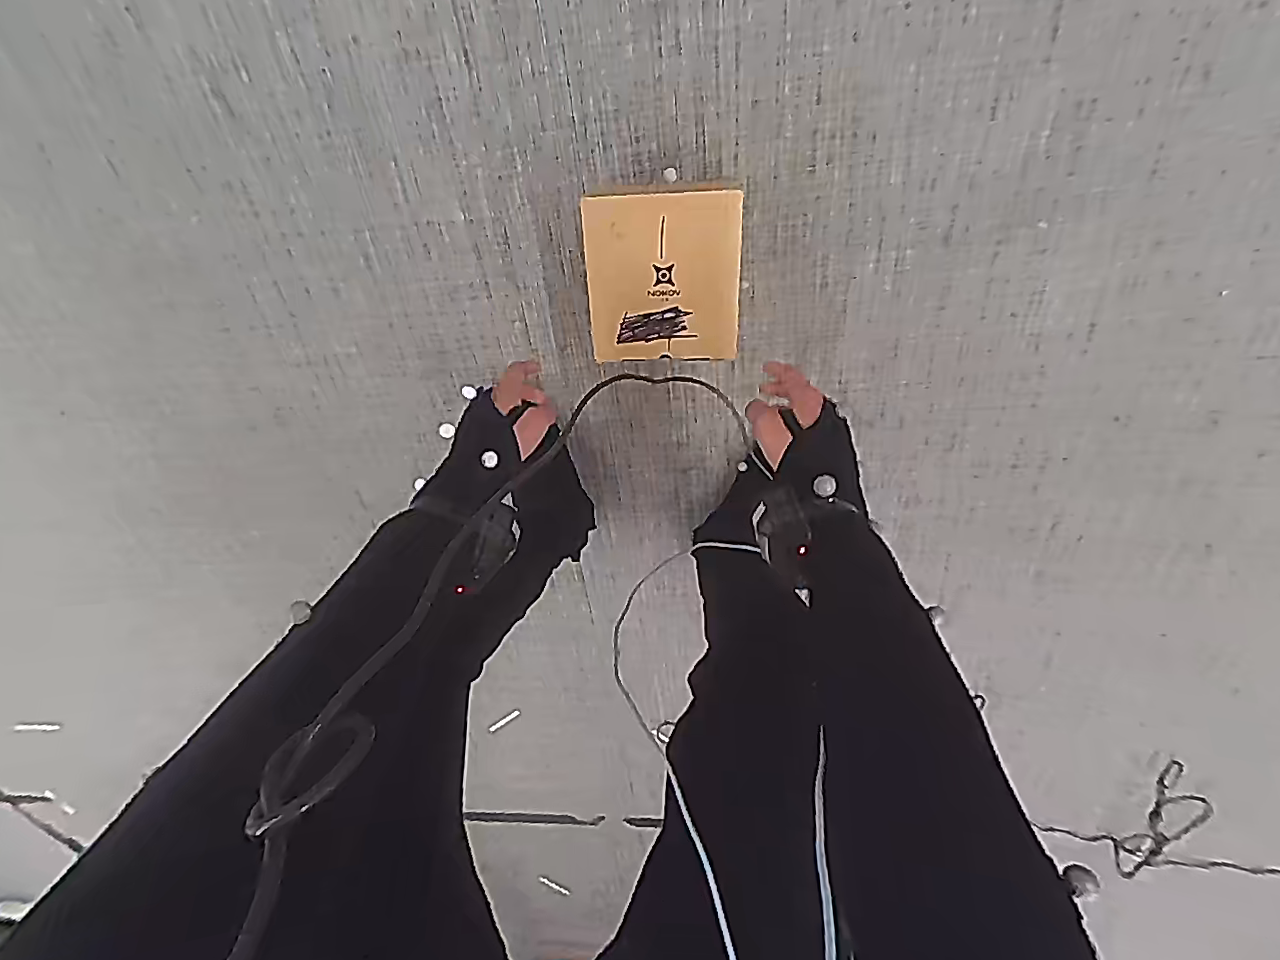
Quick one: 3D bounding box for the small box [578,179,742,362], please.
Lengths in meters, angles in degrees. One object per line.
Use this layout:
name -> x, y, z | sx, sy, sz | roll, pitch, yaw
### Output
small box -> 0.028, -0.252, 0.641 | 0.168, 0.176, 0.179 | 0, 121, 5
